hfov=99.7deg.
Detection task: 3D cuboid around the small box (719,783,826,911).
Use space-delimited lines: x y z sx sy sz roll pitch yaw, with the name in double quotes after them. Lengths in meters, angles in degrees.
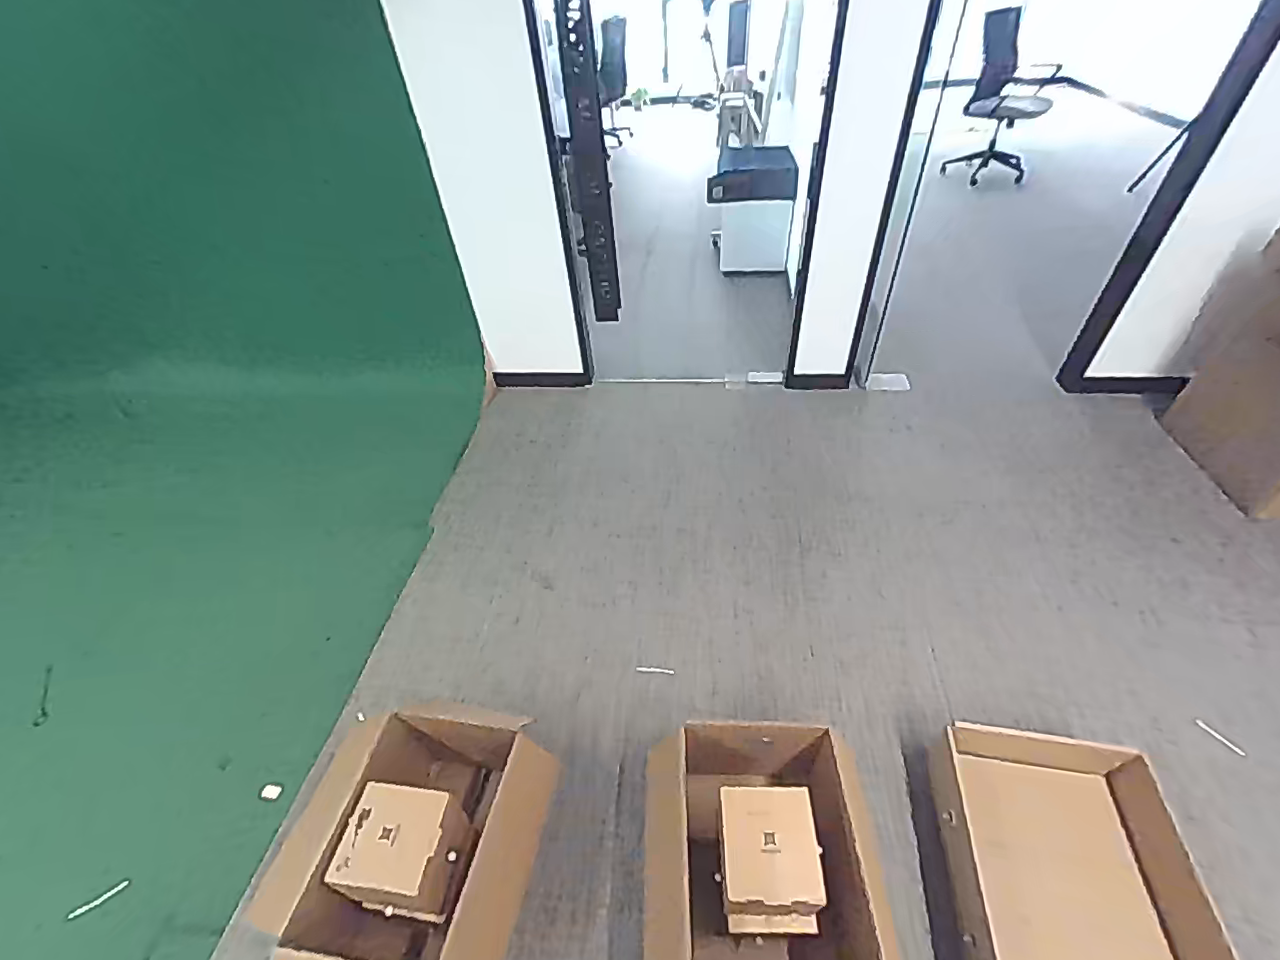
0.237 0.689 1.013 0.168 0.176 0.179 -1 45 3 "small box"
